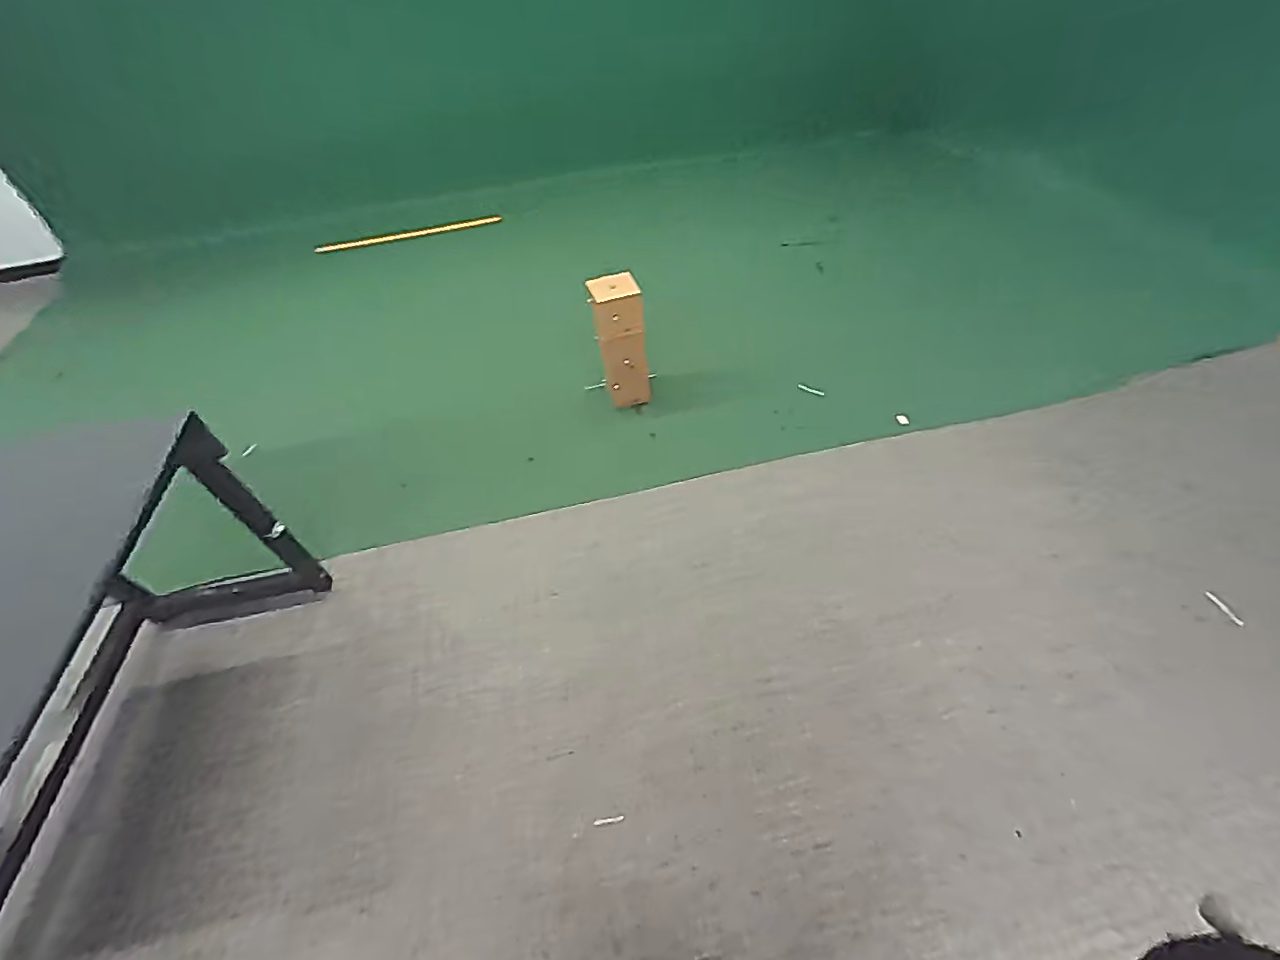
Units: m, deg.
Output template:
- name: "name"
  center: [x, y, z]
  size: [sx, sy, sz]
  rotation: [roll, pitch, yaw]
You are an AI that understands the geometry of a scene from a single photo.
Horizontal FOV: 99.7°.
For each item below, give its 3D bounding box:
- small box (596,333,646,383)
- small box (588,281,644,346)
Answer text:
- name: "small box"
  center: [-0.077, -0.521, 2.188]
  size: [0.168, 0.176, 0.179]
  rotation: [-14, 47, -6]
- name: "small box"
  center: [-0.090, -0.629, 2.068]
  size: [0.168, 0.176, 0.179]
  rotation: [-16, 47, -8]
